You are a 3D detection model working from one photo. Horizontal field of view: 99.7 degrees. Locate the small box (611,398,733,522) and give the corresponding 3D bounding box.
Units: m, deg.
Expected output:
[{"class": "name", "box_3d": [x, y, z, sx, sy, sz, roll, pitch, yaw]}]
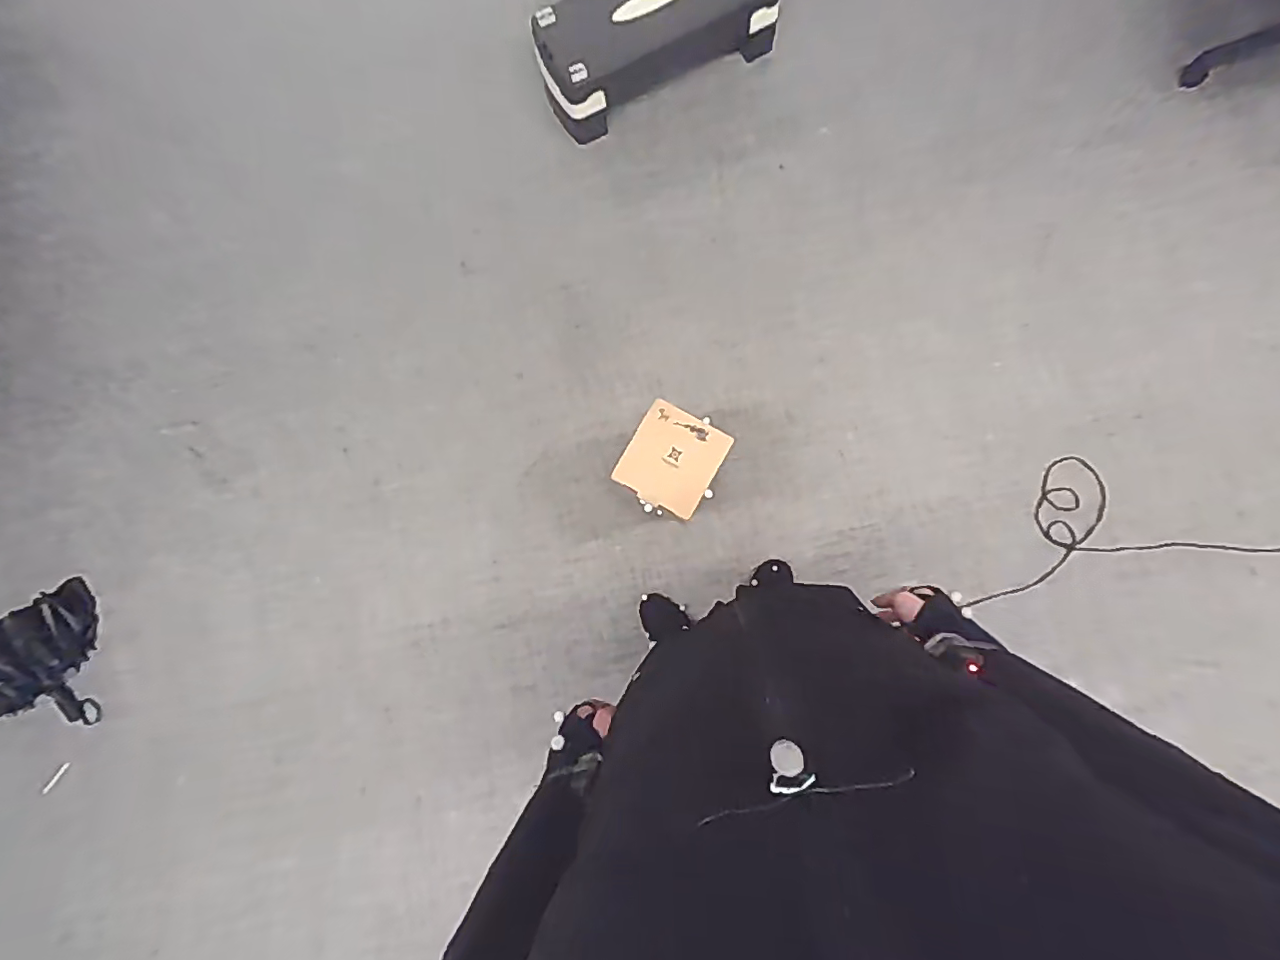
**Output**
[{"class": "small box", "box_3d": [0.066, -0.029, 1.062, 0.168, 0.176, 0.179, 31, 87, 7]}]
